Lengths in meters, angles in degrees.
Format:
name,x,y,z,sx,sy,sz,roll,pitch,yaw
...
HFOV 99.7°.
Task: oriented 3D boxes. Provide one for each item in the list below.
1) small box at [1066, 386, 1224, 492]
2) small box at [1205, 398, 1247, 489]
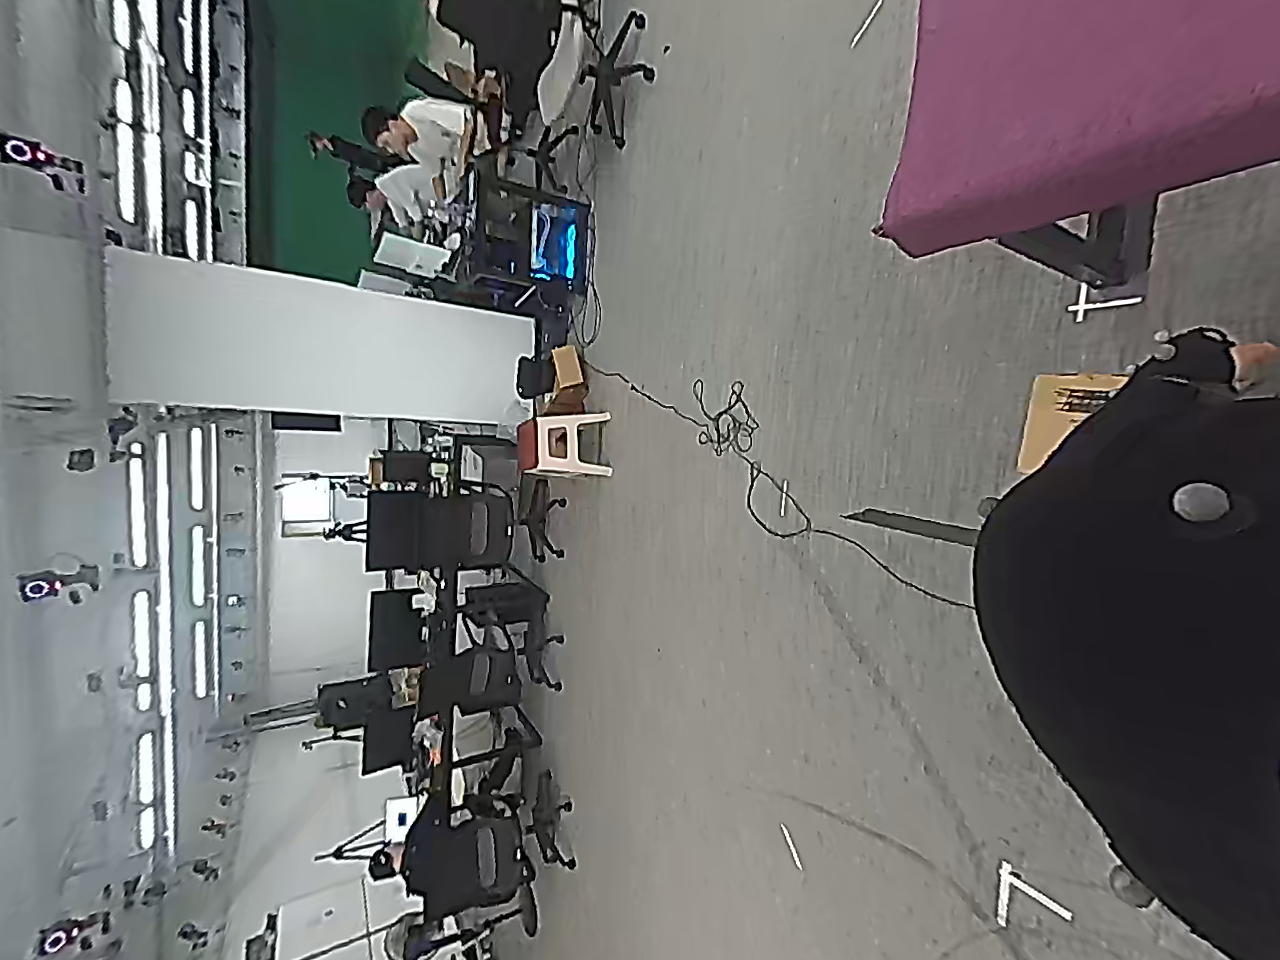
name,x,y,z,sx,sy,sz,roll,pitch,yaw
small box,0.931,-0.077,0.997,0.168,0.176,0.179,15,103,58
small box,1.067,-0.082,1.090,0.168,0.176,0.179,24,110,56
